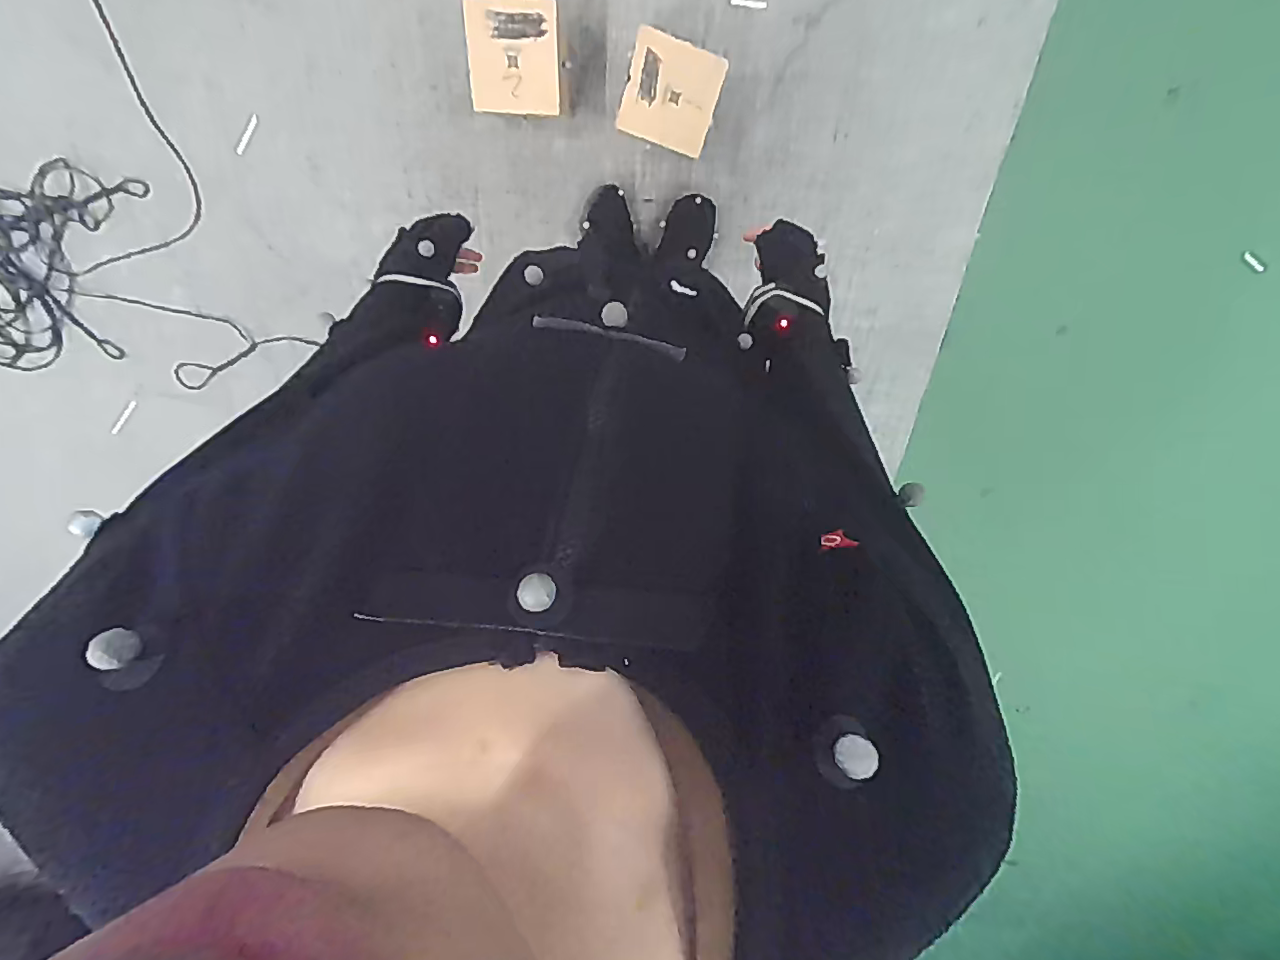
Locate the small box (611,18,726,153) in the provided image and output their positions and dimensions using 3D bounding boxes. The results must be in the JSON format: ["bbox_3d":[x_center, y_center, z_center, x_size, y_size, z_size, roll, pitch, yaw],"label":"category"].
[{"bbox_3d":[0.049,-0.767,1.074,0.179,0.176,0.168,15,119,-10],"label":"small box"}]
